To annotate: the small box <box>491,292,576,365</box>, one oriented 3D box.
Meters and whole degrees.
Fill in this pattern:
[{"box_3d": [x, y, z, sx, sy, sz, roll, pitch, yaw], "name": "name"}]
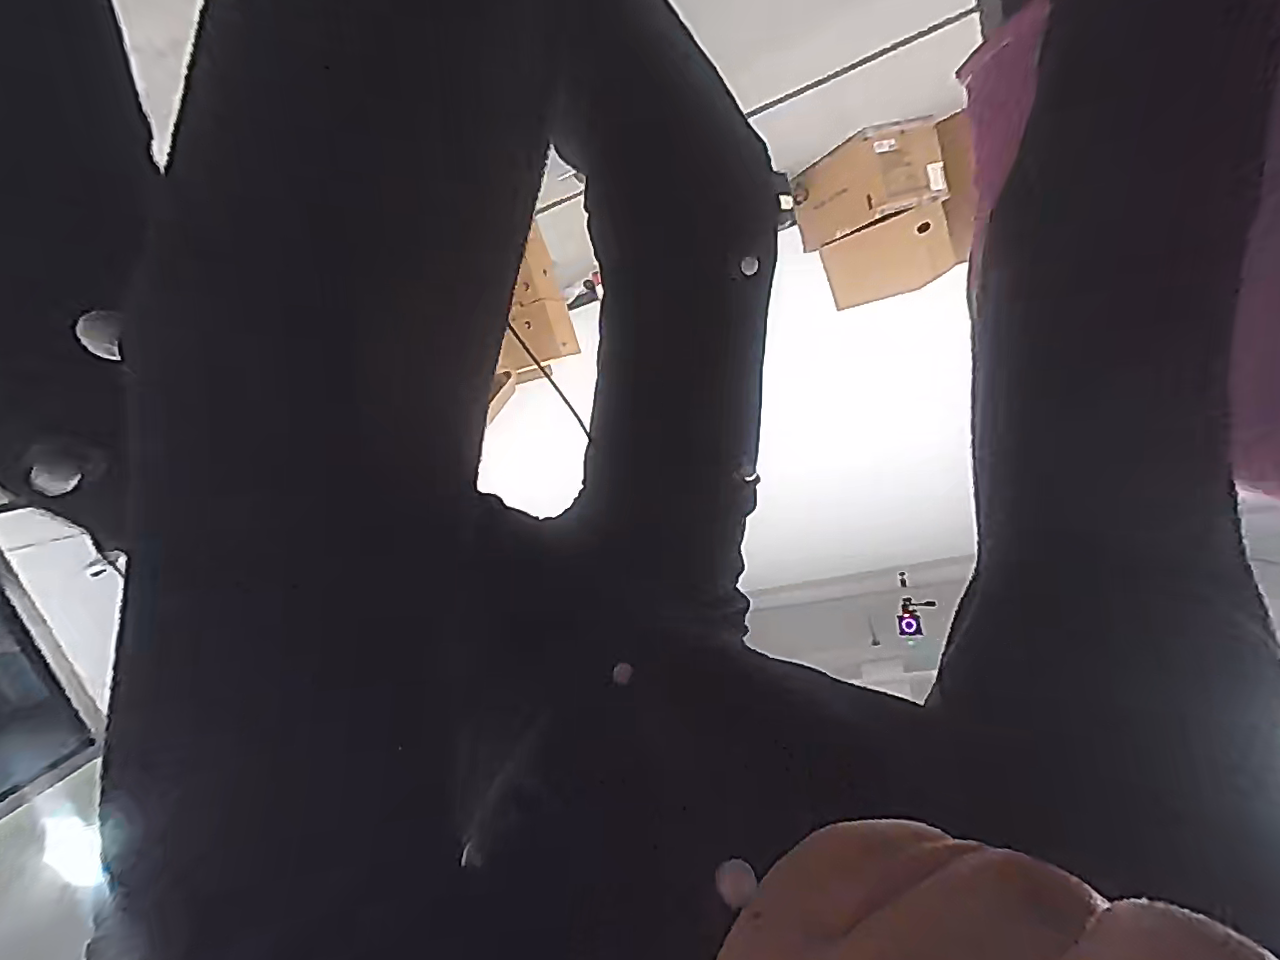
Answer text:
[{"box_3d": [-0.313, -0.454, 1.611, 0.168, 0.176, 0.179, -13, -167, 18], "name": "small box"}]
